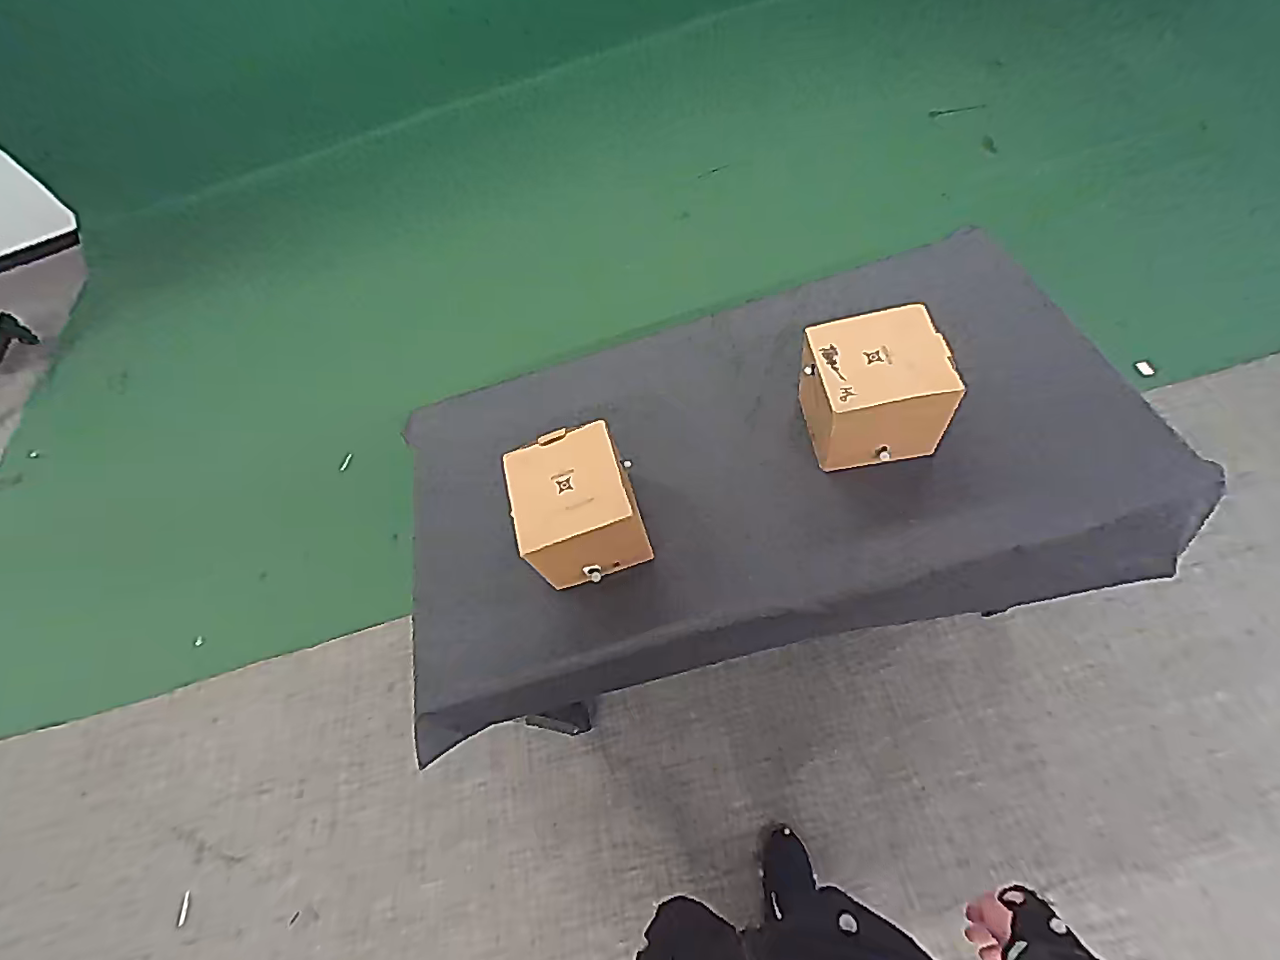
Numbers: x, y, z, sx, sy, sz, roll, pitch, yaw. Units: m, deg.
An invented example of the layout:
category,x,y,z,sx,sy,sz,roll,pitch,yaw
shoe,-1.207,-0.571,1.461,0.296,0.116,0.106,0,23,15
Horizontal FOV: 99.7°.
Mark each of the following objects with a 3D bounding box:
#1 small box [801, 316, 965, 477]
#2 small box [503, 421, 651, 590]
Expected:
category,x,y,z,sx,sy,sz,roll,pitch,yaw
small box,0.360,-0.123,0.841,0.179,0.176,0.168,-9,59,7
small box,-0.092,0.045,0.827,0.168,0.176,0.179,-19,59,4
